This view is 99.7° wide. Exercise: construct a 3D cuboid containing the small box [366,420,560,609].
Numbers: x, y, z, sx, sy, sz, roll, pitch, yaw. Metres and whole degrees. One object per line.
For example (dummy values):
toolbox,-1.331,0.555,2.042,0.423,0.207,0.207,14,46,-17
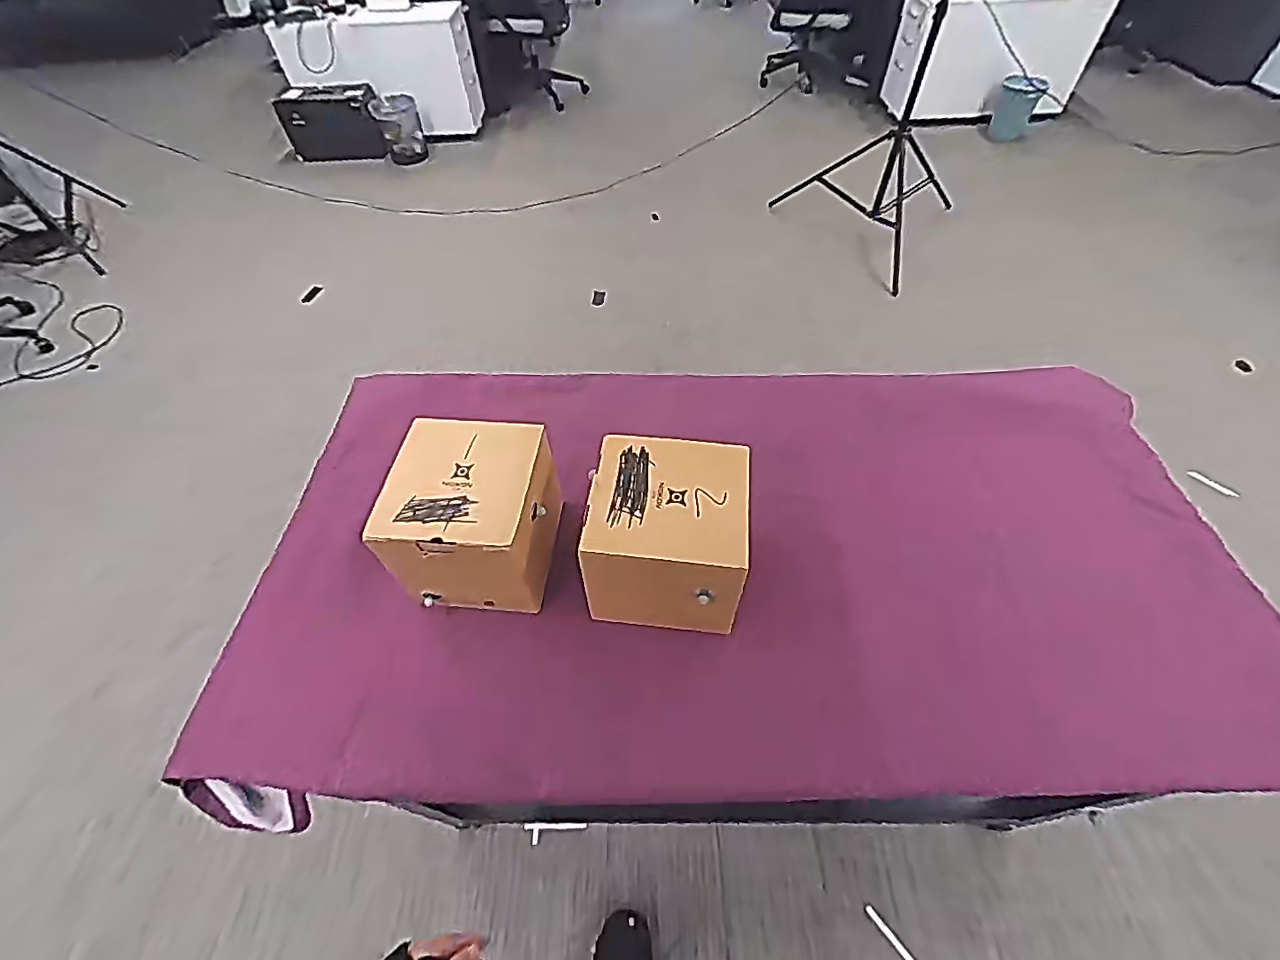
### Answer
small box,-0.203,0.047,0.682,0.168,0.176,0.179,4,52,4
